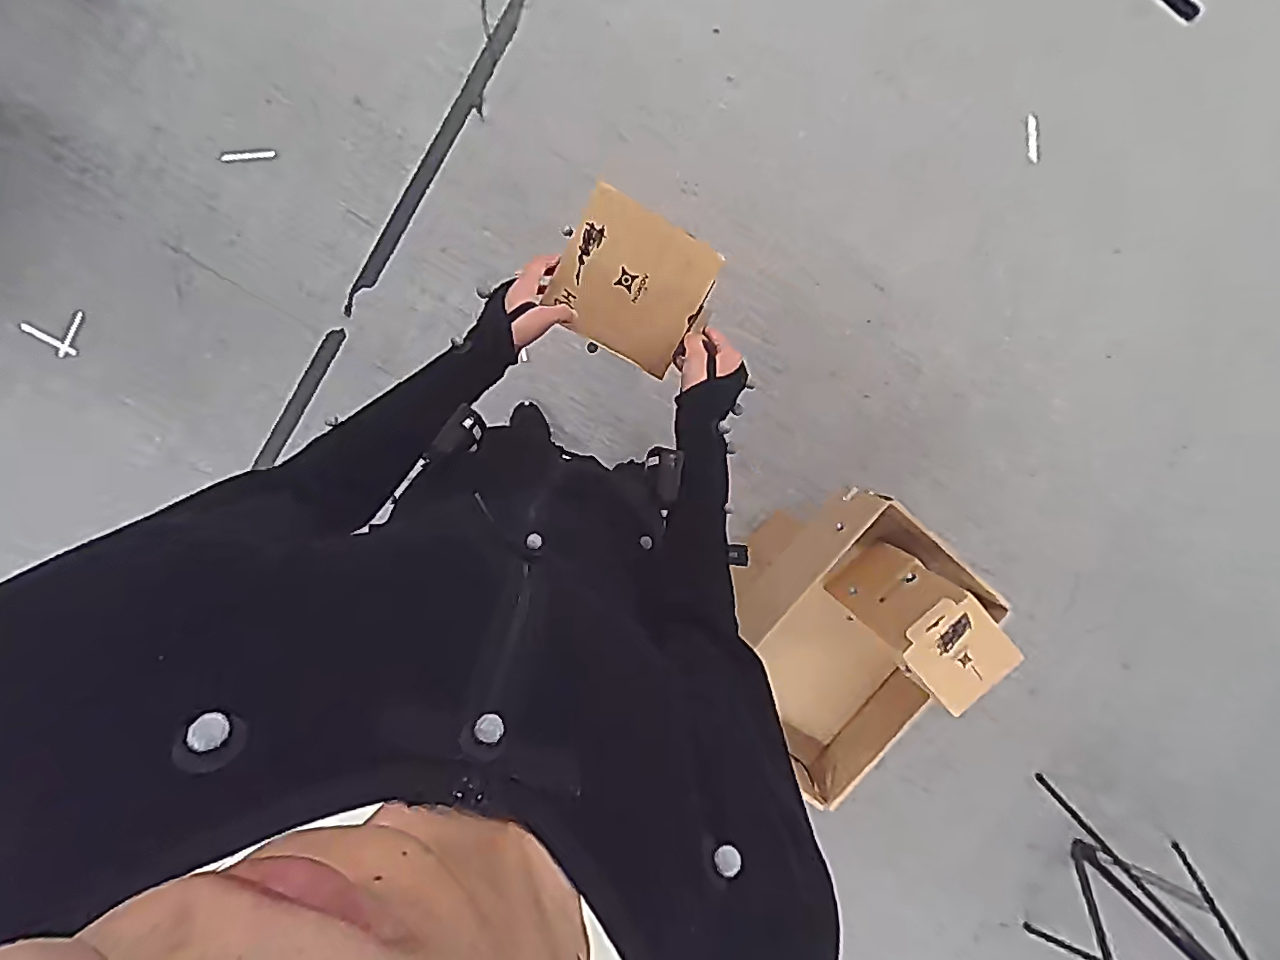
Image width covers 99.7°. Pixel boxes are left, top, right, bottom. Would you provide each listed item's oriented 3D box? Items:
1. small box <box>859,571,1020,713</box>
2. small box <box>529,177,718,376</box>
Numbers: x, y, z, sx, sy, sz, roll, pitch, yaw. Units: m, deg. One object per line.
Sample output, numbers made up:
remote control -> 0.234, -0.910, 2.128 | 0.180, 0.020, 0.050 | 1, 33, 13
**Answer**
small box -> 0.560, 0.296, 1.037 | 0.168, 0.176, 0.179 | -42, 100, 3
small box -> -0.028, -0.260, 0.714 | 0.179, 0.176, 0.168 | 26, 102, -15
